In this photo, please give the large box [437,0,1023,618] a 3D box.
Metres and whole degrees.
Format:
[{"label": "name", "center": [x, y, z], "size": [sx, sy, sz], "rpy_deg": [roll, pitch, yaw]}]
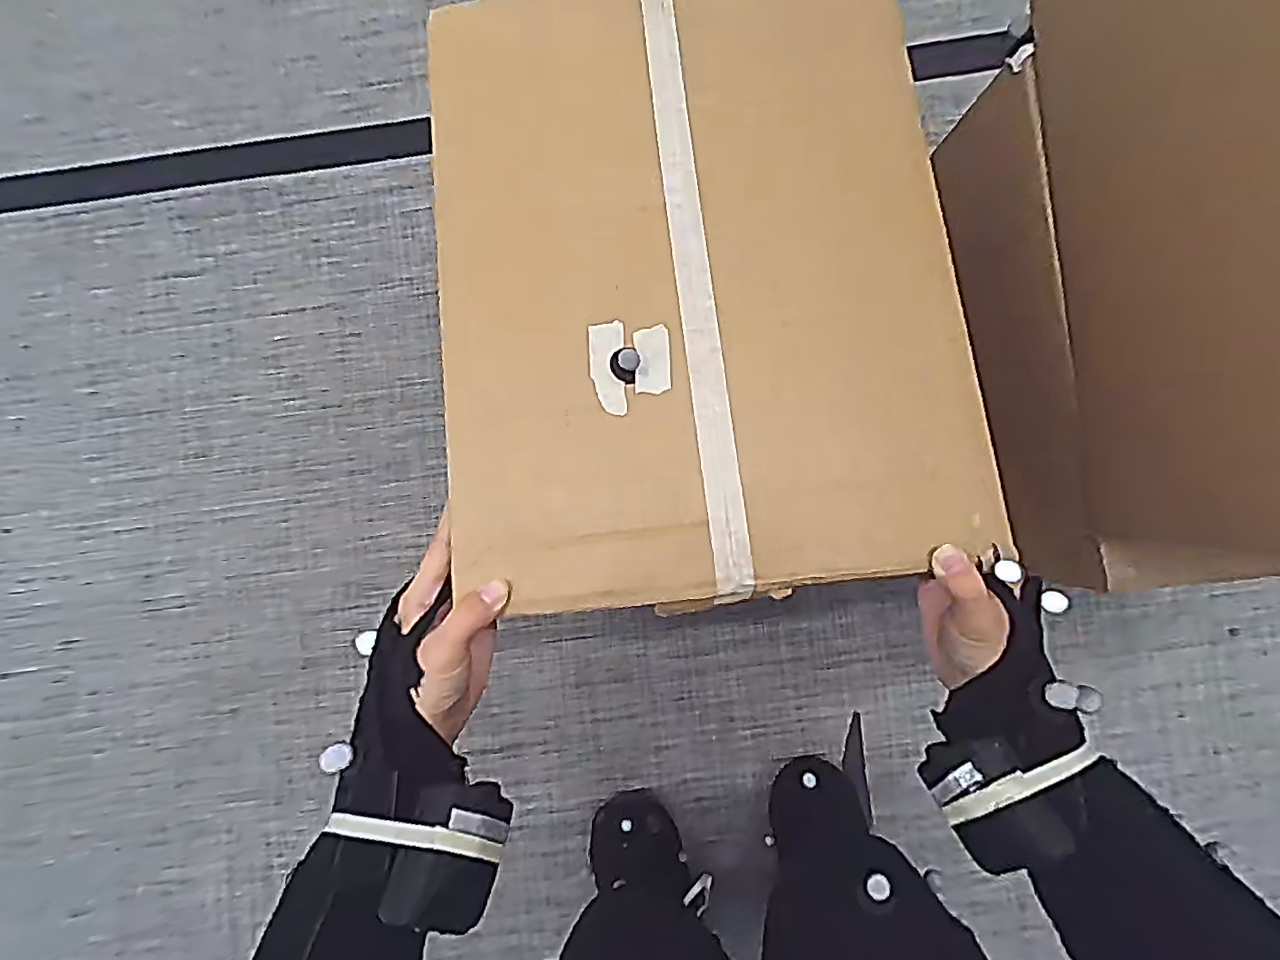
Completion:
[{"label": "large box", "center": [0.042, -0.112, 0.482], "size": [0.320, 0.320, 0.408], "rpy_deg": [-7, 81, 1]}]
